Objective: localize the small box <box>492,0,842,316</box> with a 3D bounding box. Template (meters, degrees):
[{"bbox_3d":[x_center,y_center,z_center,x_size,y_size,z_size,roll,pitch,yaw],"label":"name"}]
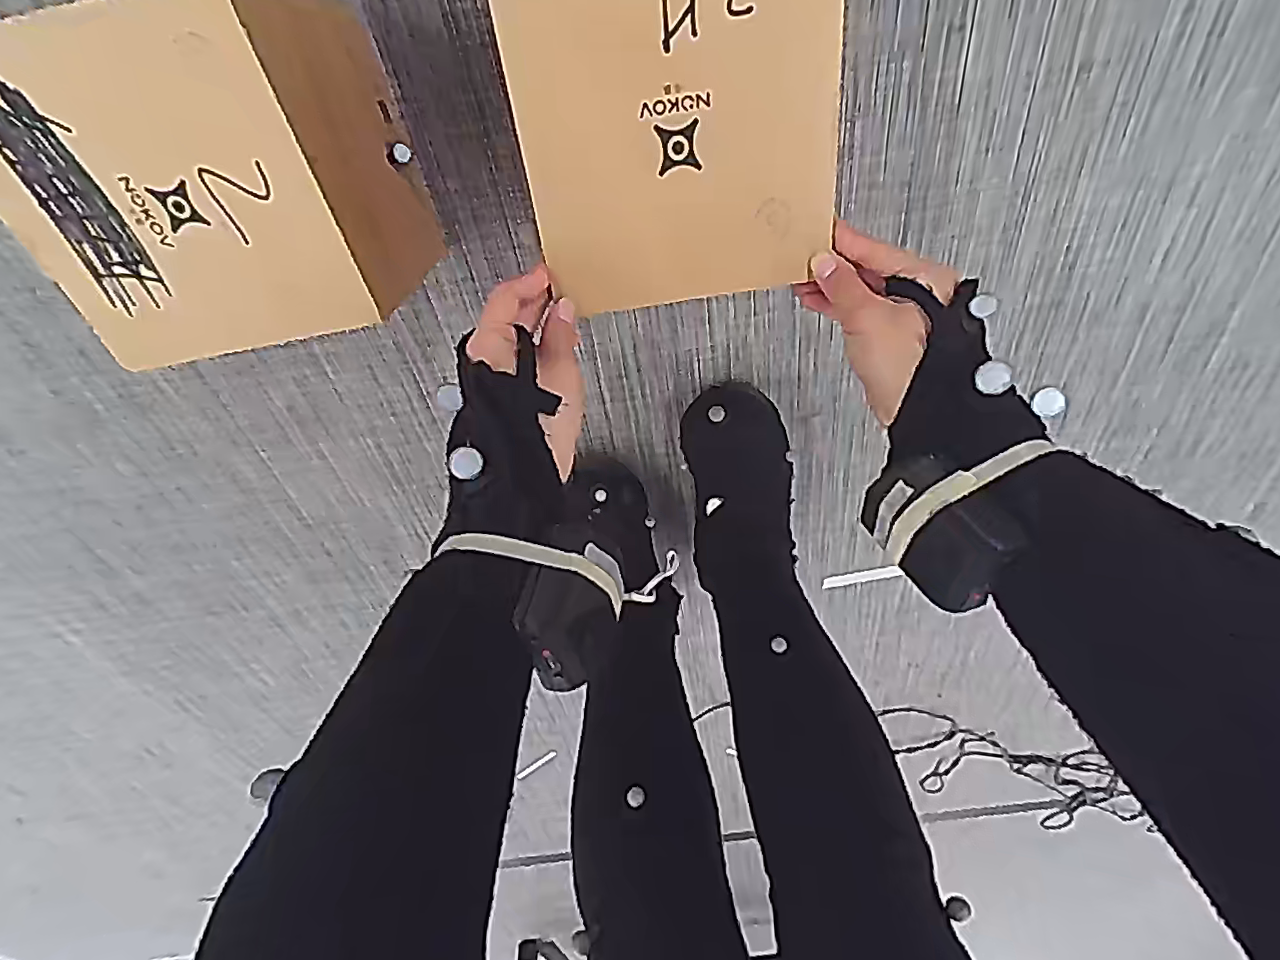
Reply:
[{"bbox_3d":[0.016,-0.224,0.348,0.168,0.176,0.179,-8,122,2],"label":"small box"}]
